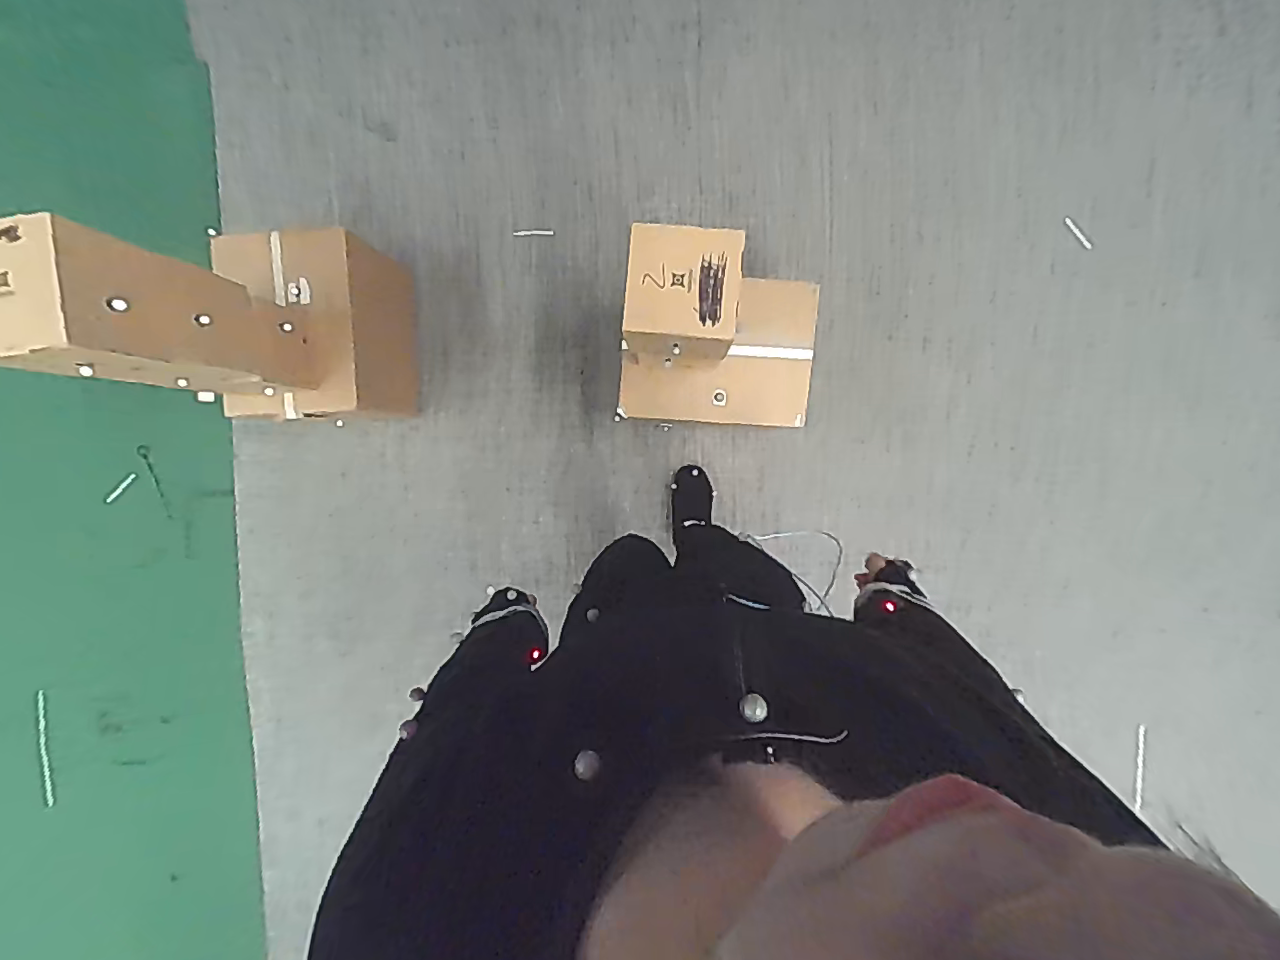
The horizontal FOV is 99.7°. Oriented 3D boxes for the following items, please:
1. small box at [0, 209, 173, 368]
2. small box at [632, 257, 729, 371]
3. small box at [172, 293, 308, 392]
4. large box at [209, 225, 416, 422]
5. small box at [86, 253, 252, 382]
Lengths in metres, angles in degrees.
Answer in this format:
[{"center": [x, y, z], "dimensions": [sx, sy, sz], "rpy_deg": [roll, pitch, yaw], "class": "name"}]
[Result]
[{"center": [-0.825, -0.260, 0.779], "dimensions": [0.168, 0.176, 0.179], "rpy_deg": [-5, 93, 3], "class": "small box"}, {"center": [0.078, -0.317, 1.065], "dimensions": [0.168, 0.176, 0.179], "rpy_deg": [5, 92, 2], "class": "small box"}, {"center": [-0.812, -0.274, 1.107], "dimensions": [0.179, 0.176, 0.168], "rpy_deg": [-3, 93, 4], "class": "small box"}, {"center": [-0.786, -0.359, 1.345], "dimensions": [0.320, 0.320, 0.408], "rpy_deg": [-2, 93, 3], "class": "large box"}, {"center": [-0.819, -0.271, 0.944], "dimensions": [0.168, 0.176, 0.179], "rpy_deg": [-7, 92, 3], "class": "small box"}]
